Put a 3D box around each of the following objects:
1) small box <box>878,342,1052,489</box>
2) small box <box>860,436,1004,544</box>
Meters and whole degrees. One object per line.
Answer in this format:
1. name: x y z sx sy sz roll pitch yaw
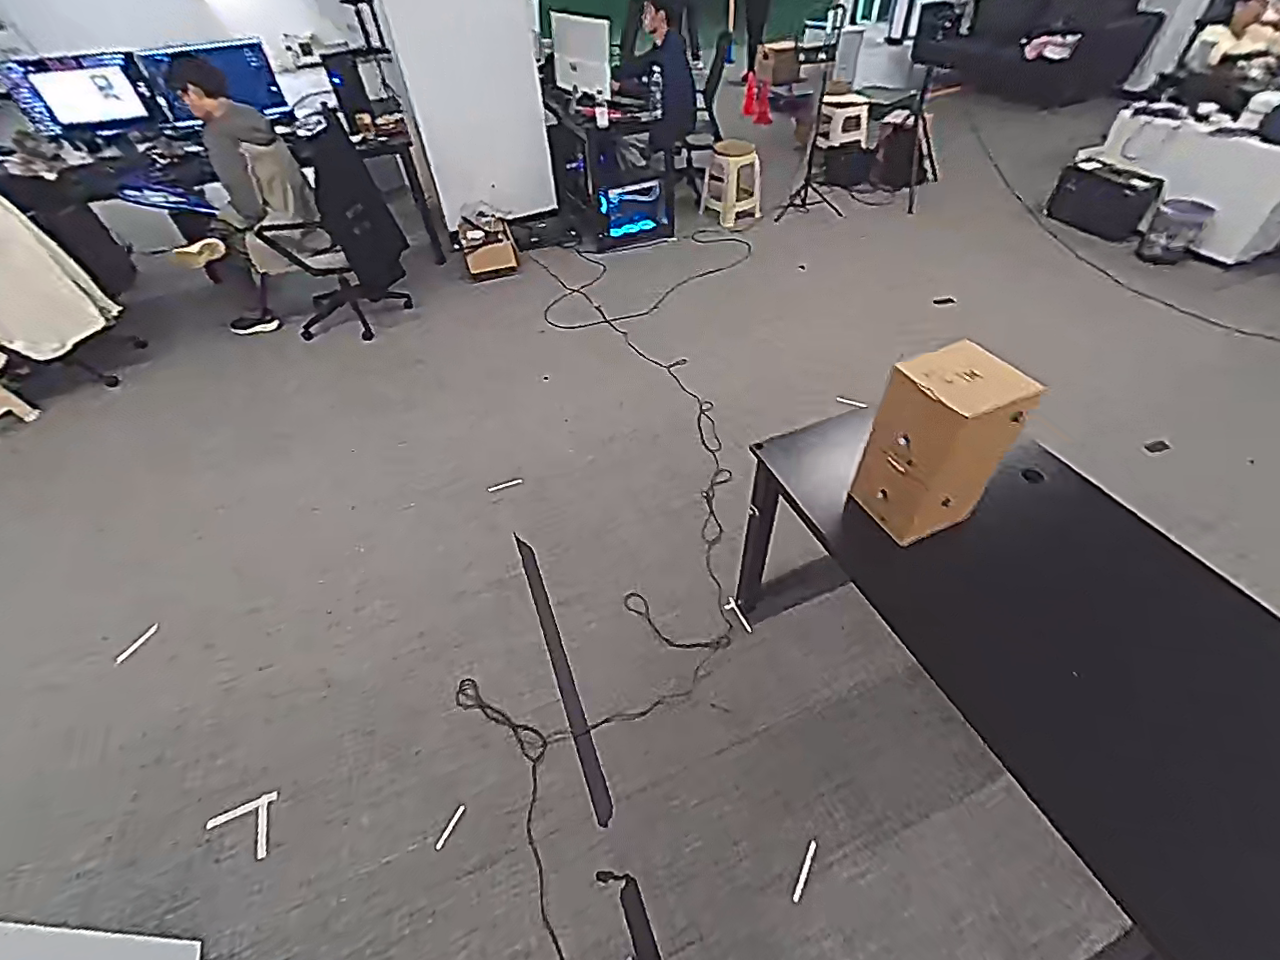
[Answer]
1. small box: 0.560 -0.114 0.960 0.179 0.176 0.168 -19 48 -14
2. small box: 0.566 0.000 1.079 0.179 0.176 0.168 -20 49 -14
